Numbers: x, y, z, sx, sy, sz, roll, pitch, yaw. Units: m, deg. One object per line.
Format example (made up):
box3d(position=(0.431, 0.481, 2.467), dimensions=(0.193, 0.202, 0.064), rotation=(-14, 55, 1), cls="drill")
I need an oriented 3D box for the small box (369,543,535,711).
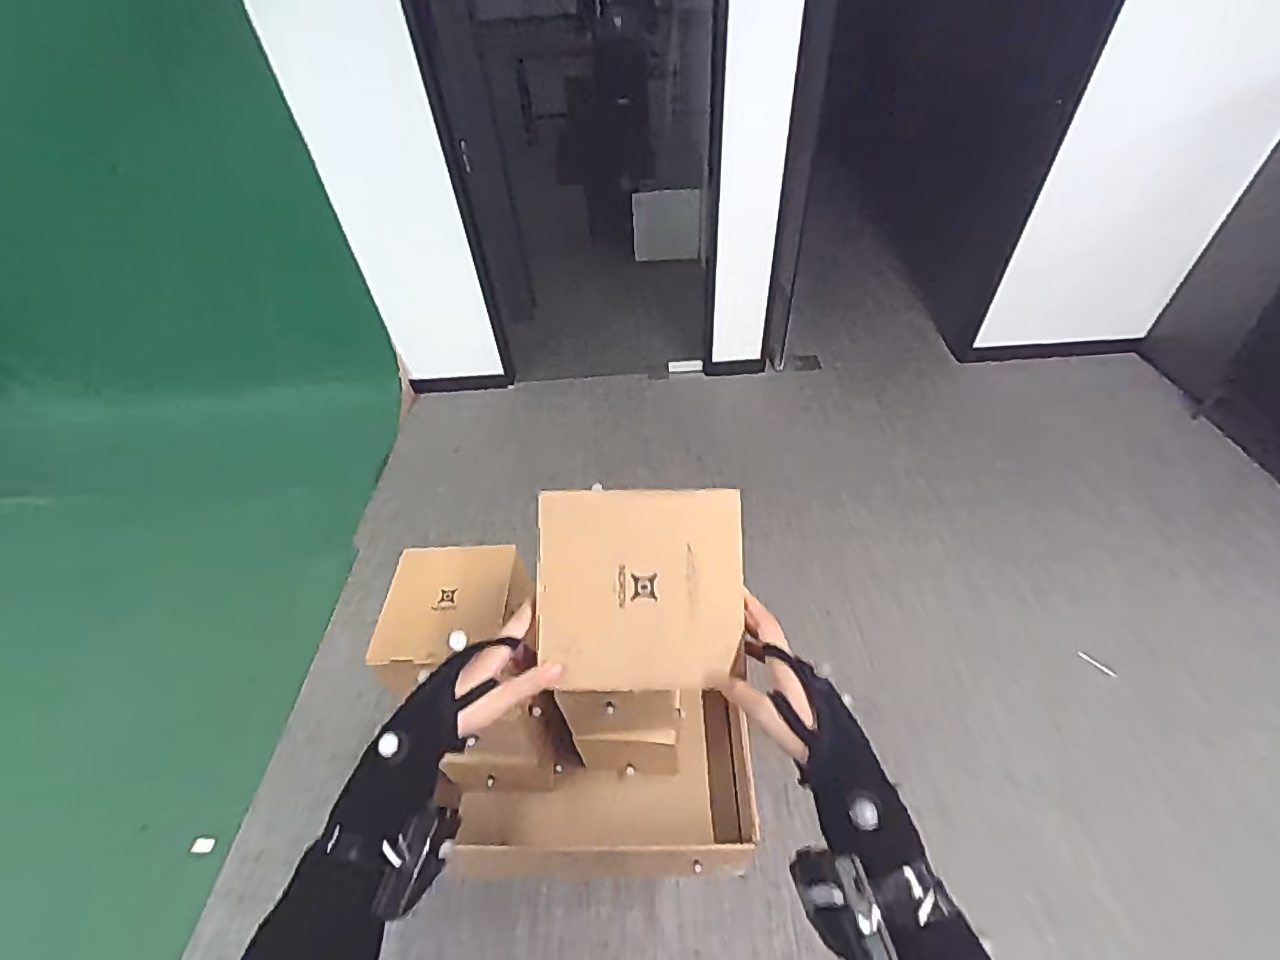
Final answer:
box3d(position=(-0.251, 0.211, 0.776), dimensions=(0.168, 0.176, 0.179), rotation=(-2, 46, 1), cls="small box")
